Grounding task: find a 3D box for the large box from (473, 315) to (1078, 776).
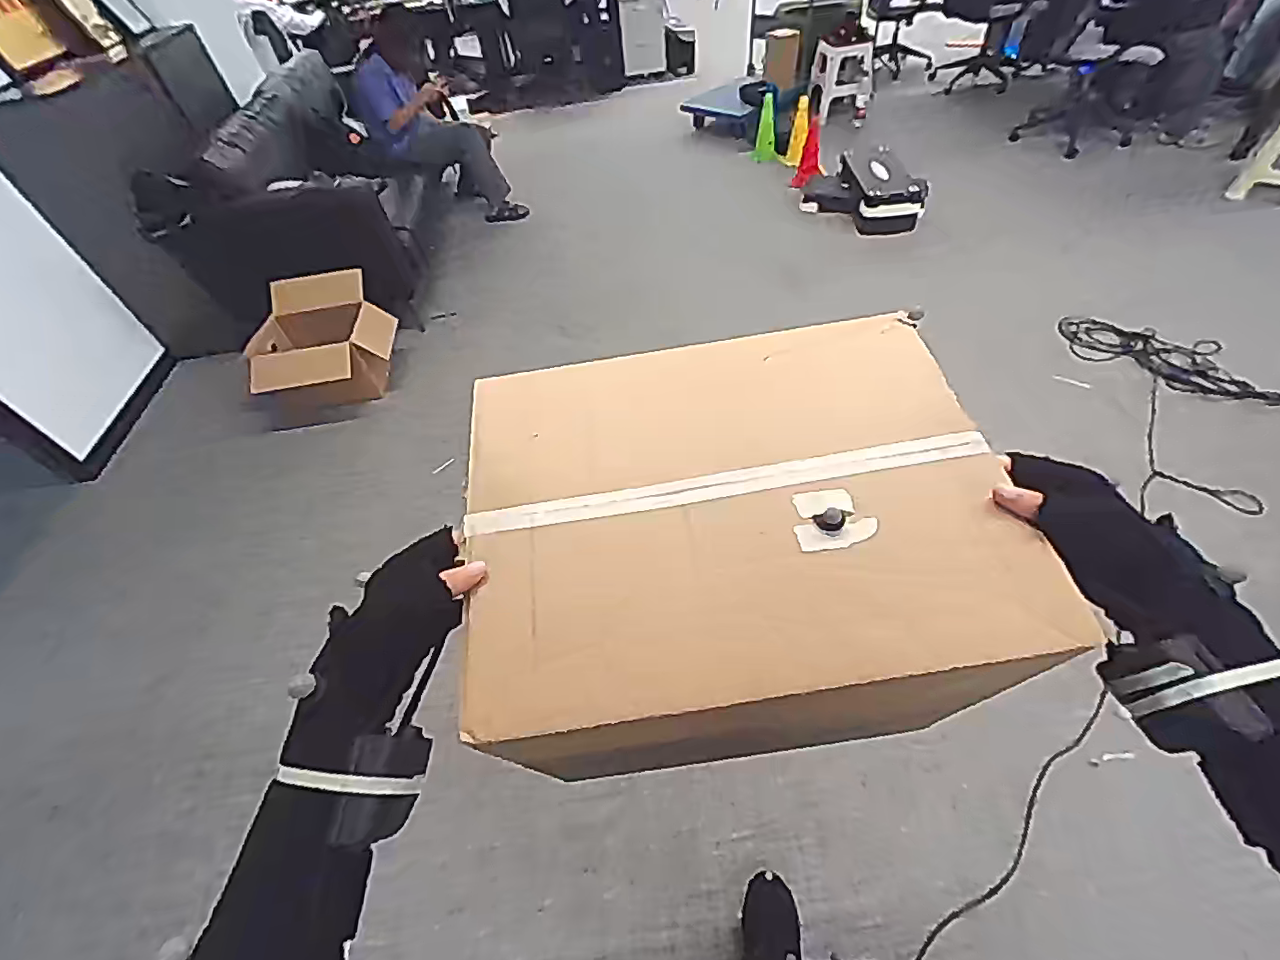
[{"bbox_3d":[0.077,0.083,0.547,0.408,0.320,0.320,-9,57,-1],"label":"large box"}]
